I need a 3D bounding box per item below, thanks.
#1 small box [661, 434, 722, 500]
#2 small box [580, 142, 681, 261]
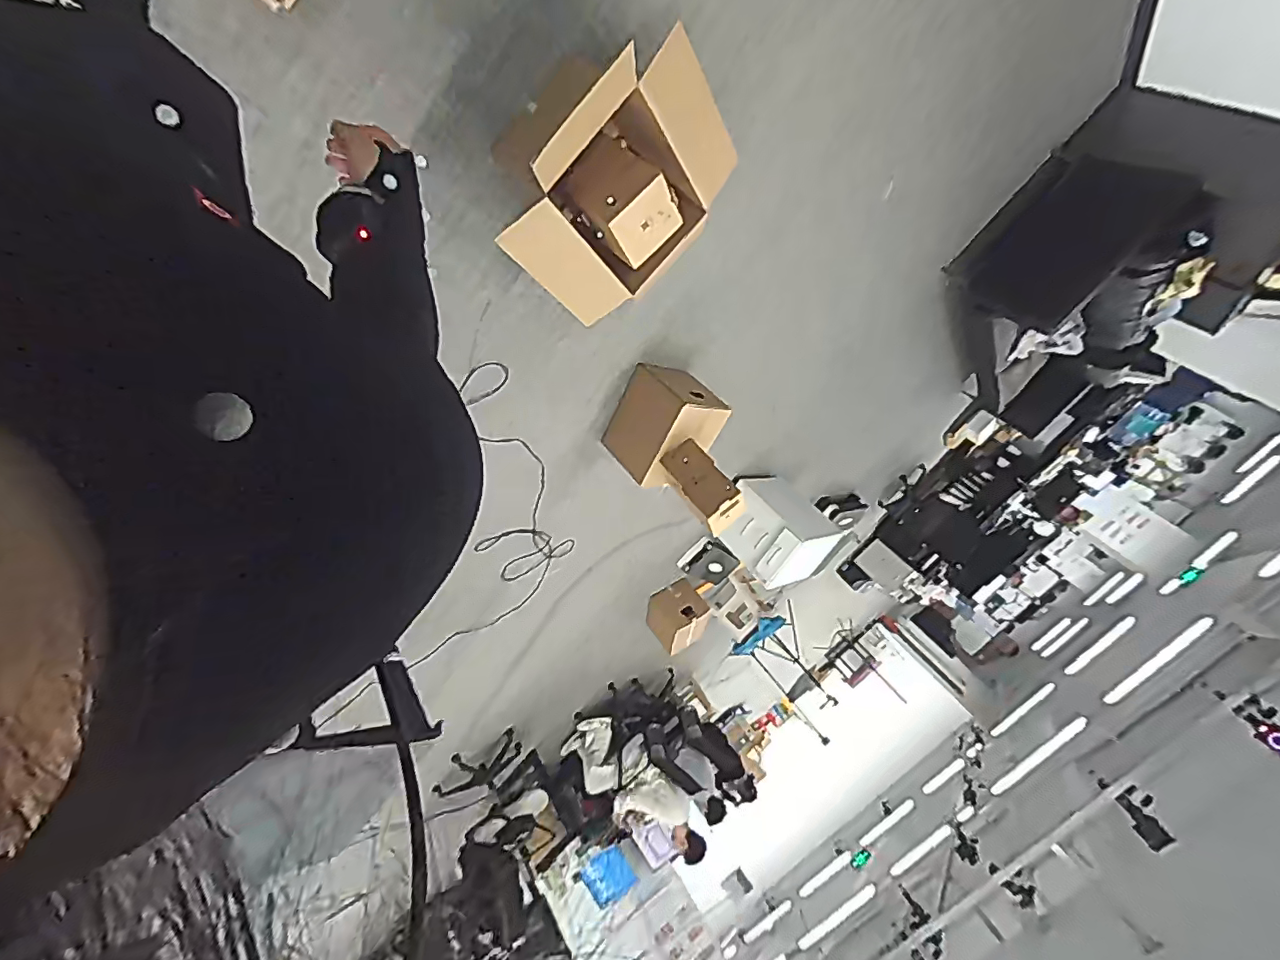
[{"bbox_3d":[0.205,-0.060,2.186,0.168,0.176,0.179,-38,146,-6],"label":"small box"},{"bbox_3d":[-0.030,-0.706,1.370,0.179,0.176,0.168,-44,152,4],"label":"small box"}]
